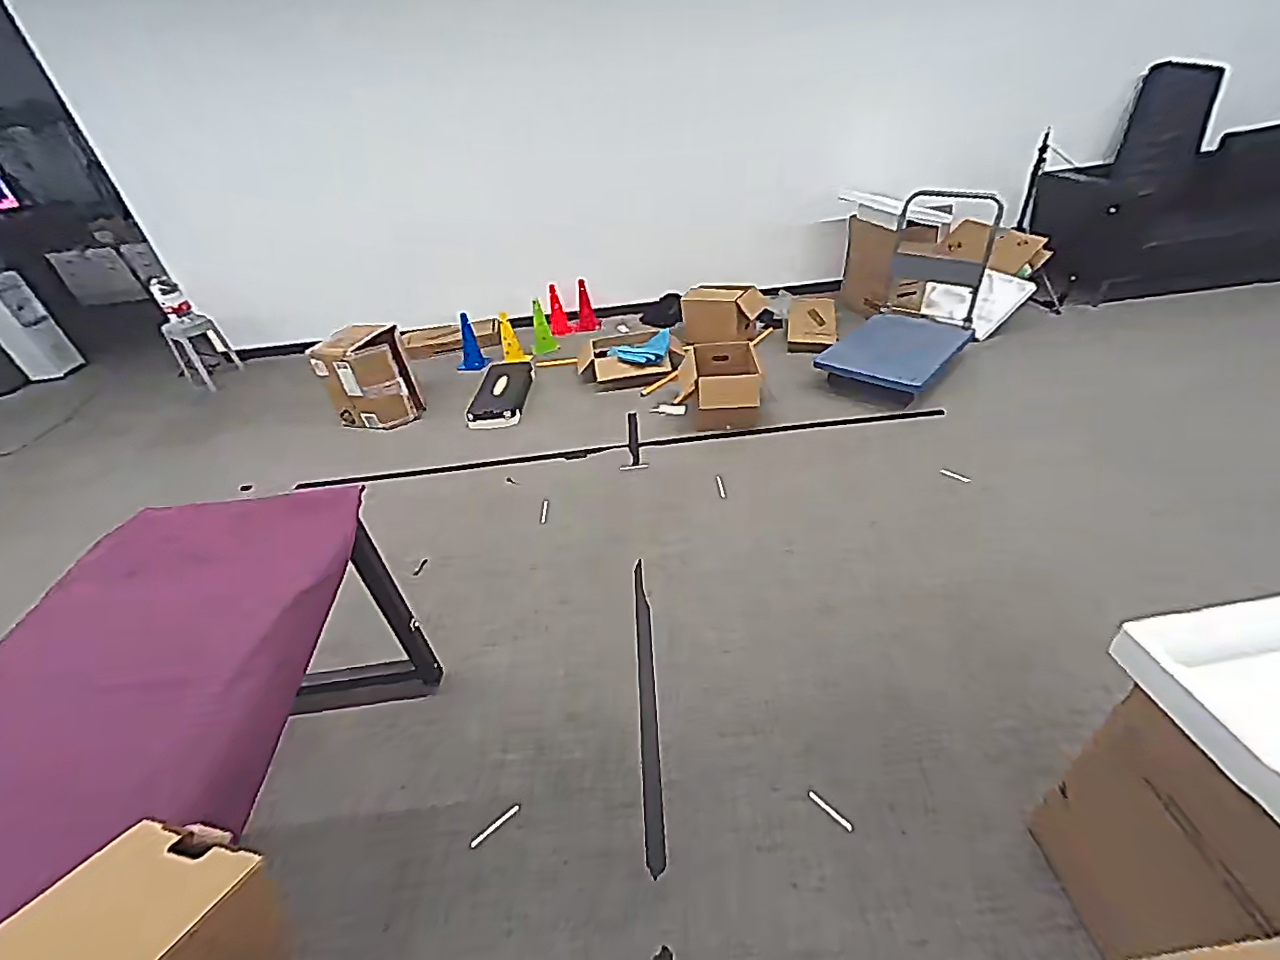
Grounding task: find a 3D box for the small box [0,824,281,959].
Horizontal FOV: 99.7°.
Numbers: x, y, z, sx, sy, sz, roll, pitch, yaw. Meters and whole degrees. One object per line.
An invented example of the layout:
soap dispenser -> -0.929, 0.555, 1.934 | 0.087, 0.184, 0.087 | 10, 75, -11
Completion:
small box -> -0.454, 0.458, 0.477 | 0.168, 0.176, 0.179 | 3, 14, 15
